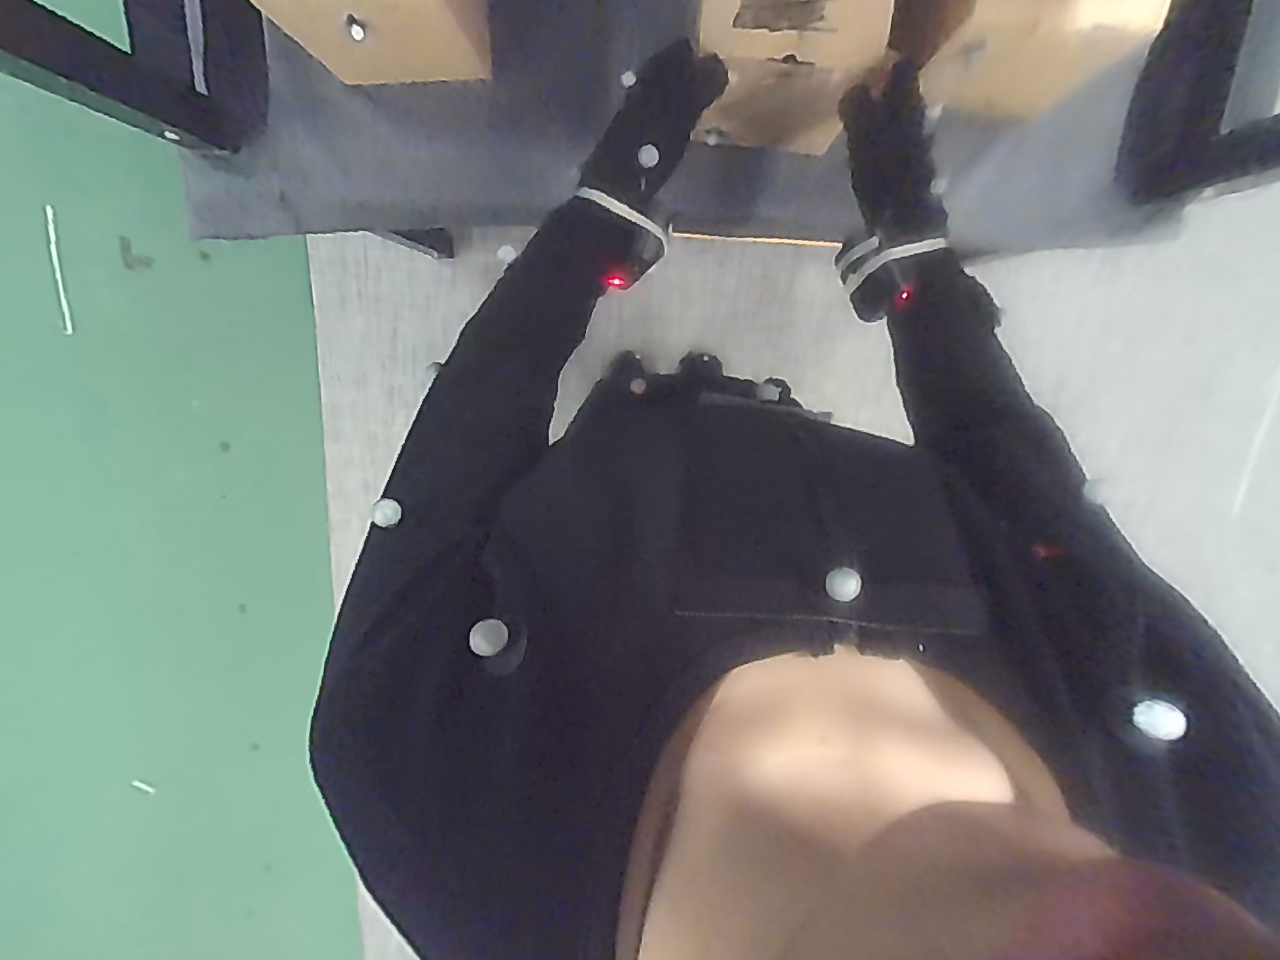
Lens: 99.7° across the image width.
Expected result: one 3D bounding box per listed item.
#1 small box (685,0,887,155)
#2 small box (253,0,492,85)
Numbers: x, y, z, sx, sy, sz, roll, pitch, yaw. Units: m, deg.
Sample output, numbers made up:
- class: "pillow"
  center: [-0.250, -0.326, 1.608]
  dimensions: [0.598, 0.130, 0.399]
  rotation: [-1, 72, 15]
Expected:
- class: "small box"
  center: [0.138, -0.457, 0.543]
  dimensions: [0.168, 0.176, 0.179]
  rotation: [7, 99, 0]
- class: "small box"
  center: [-0.263, -0.526, 0.542]
  dimensions: [0.179, 0.176, 0.168]
  rotation: [-1, 104, 1]
